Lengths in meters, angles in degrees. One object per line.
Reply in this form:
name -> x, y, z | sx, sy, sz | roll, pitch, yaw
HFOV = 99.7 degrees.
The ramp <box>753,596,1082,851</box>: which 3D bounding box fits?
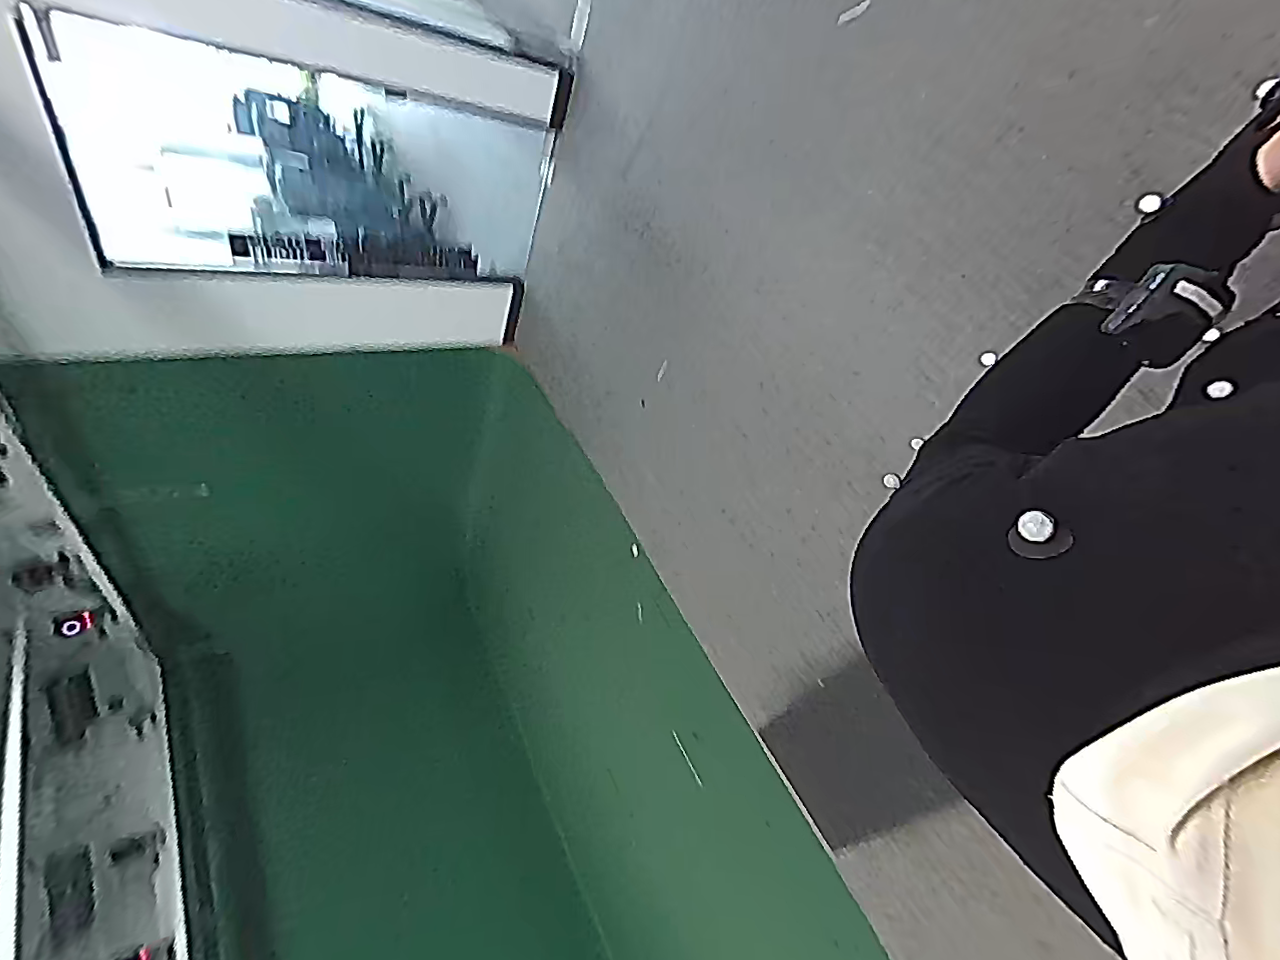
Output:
ramp -> 0.825, 0.857, 1.829 | 0.509, 0.206, 0.991 | 57, 139, 29
